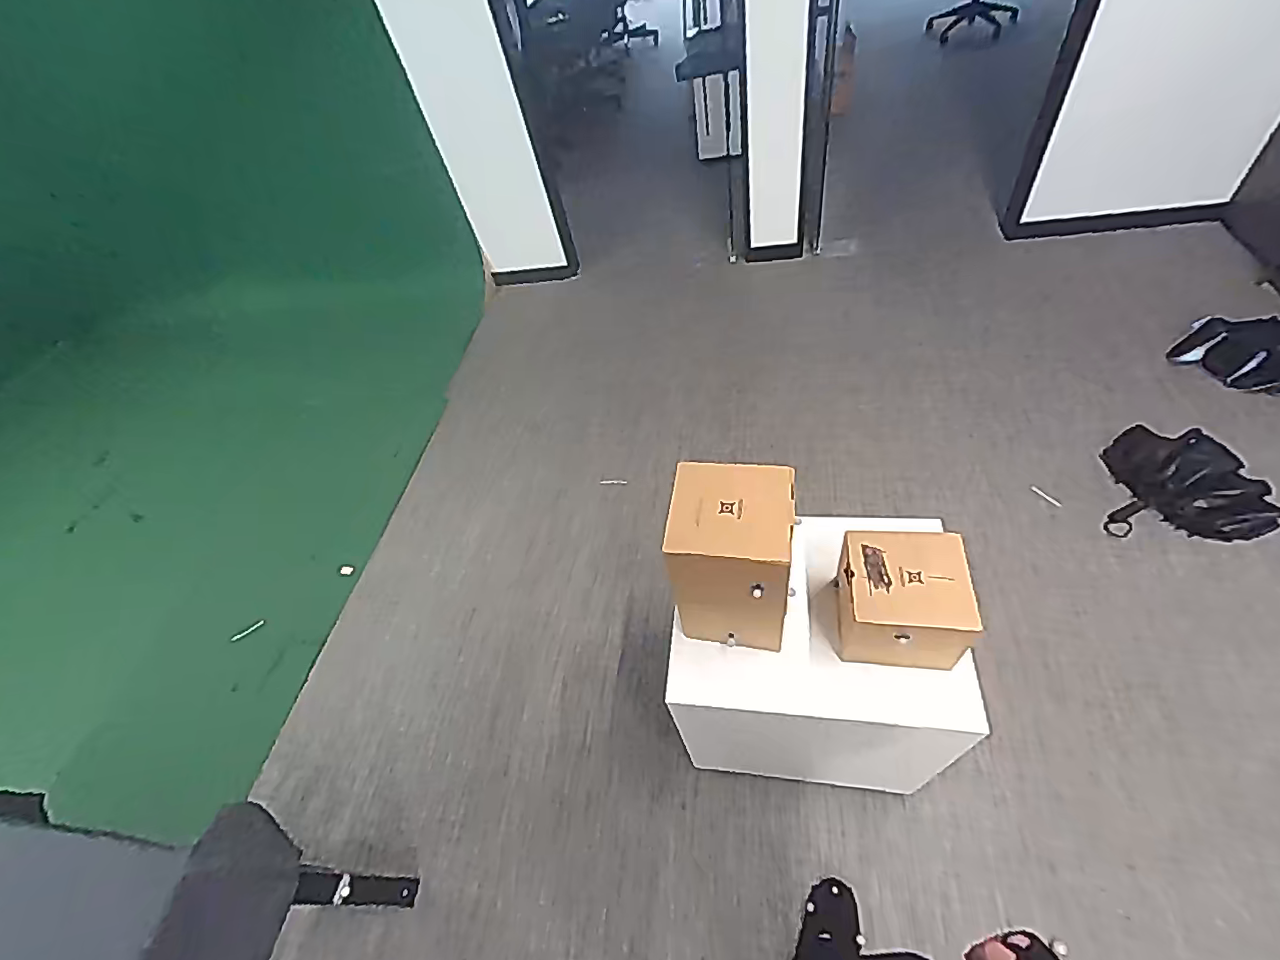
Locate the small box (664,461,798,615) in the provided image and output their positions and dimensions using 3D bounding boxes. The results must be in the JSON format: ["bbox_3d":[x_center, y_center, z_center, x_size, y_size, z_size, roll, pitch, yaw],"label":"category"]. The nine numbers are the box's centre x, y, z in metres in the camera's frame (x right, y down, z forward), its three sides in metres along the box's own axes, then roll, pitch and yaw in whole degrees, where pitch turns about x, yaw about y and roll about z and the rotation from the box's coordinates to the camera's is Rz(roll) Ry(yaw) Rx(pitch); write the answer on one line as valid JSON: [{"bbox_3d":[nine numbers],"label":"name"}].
[{"bbox_3d":[0.140,0.089,0.816,0.179,0.176,0.168,2,50,12],"label":"small box"}]

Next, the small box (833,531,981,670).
[{"bbox_3d":[0.421,0.200,0.890,0.179,0.176,0.168,2,51,11],"label":"small box"}]
